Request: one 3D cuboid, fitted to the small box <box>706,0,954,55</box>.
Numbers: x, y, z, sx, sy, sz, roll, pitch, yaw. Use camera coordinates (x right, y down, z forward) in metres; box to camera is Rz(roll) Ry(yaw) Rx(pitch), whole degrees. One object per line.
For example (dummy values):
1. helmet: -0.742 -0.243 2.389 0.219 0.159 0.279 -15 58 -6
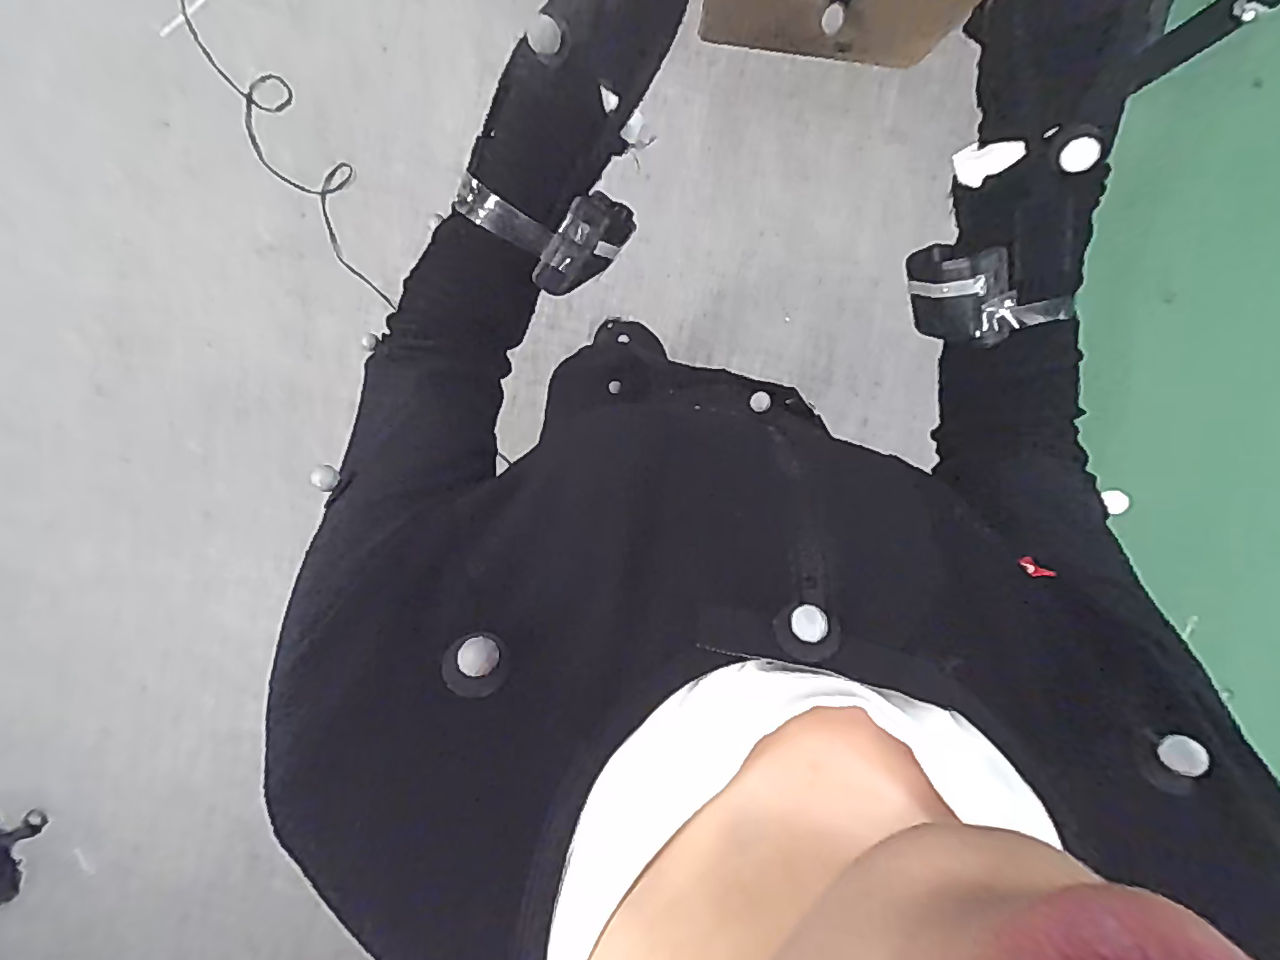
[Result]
1. small box: 0.130 -0.383 0.307 0.168 0.176 0.179 8 107 0
